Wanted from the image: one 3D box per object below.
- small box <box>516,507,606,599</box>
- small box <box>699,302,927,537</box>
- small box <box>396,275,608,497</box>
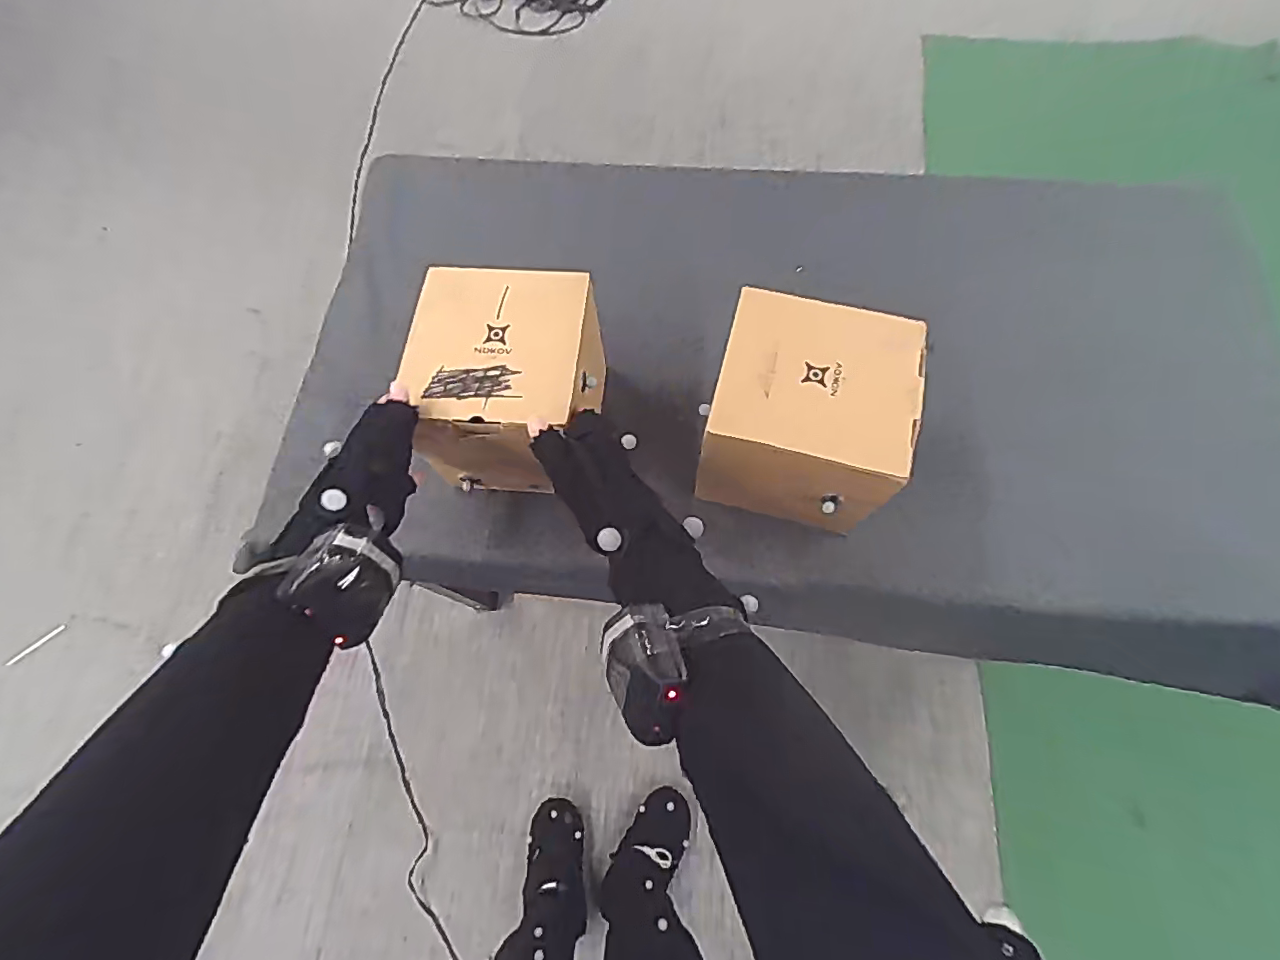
[{"bbox_3d":[-0.177,0.177,1.268,0.168,0.176,0.179,5,70,4],"label":"small box"},{"bbox_3d":[0.166,-0.051,0.563,0.179,0.176,0.168,14,69,8],"label":"small box"},{"bbox_3d":[-0.129,-0.092,0.585,0.168,0.176,0.179,5,68,4],"label":"small box"}]
